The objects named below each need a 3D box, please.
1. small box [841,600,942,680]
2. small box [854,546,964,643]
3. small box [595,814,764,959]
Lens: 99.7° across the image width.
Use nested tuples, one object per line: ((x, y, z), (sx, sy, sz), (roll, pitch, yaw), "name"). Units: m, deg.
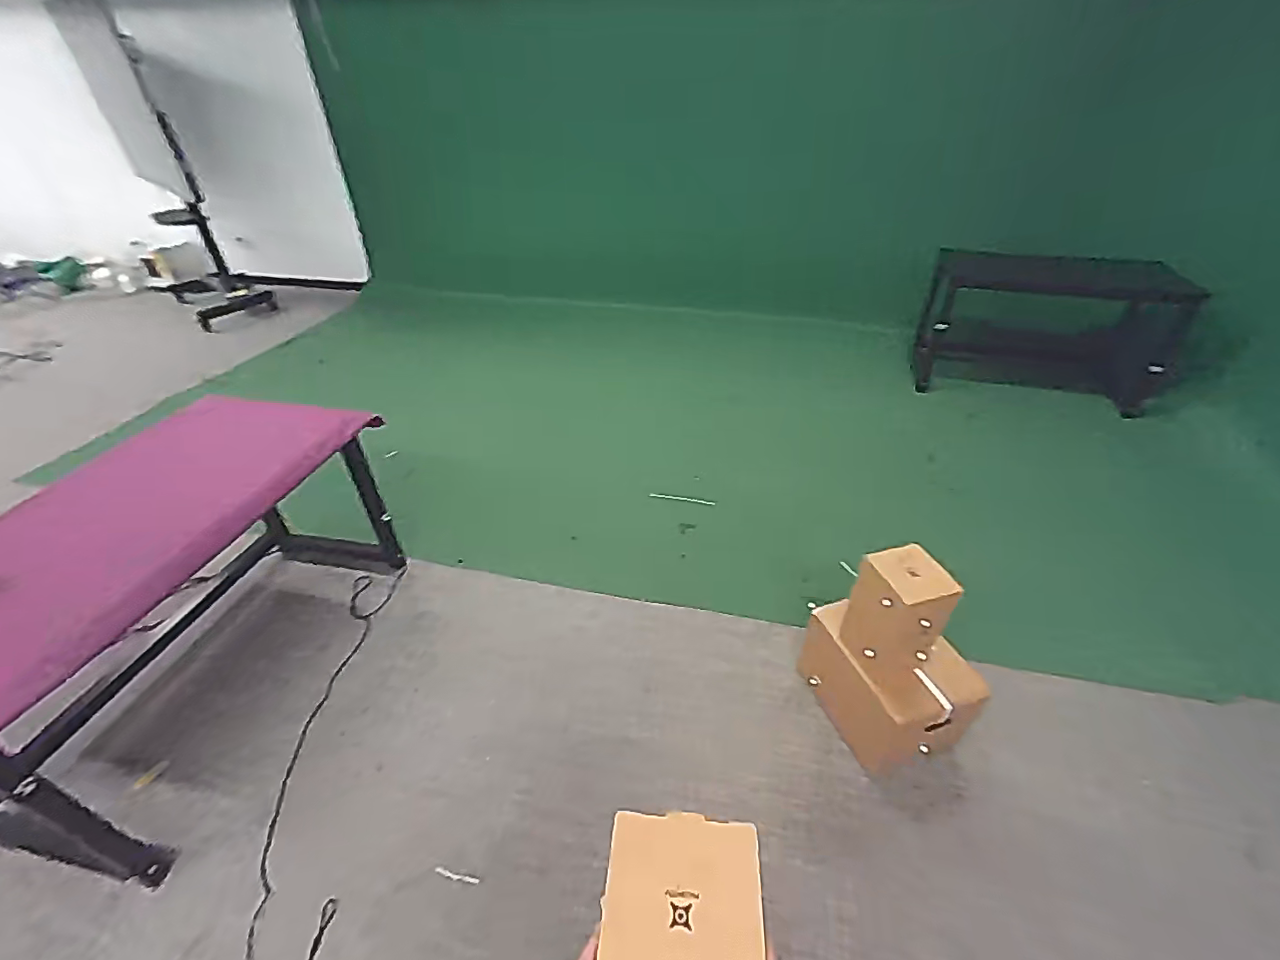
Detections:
((0.691, 0.433, 1.507), (0.168, 0.176, 0.179), (-12, 38, -14), "small box")
((0.689, 0.302, 1.407), (0.168, 0.176, 0.179), (-10, 38, -13), "small box")
((0.044, 0.508, 0.599), (0.168, 0.176, 0.179), (1, 36, 6), "small box")
